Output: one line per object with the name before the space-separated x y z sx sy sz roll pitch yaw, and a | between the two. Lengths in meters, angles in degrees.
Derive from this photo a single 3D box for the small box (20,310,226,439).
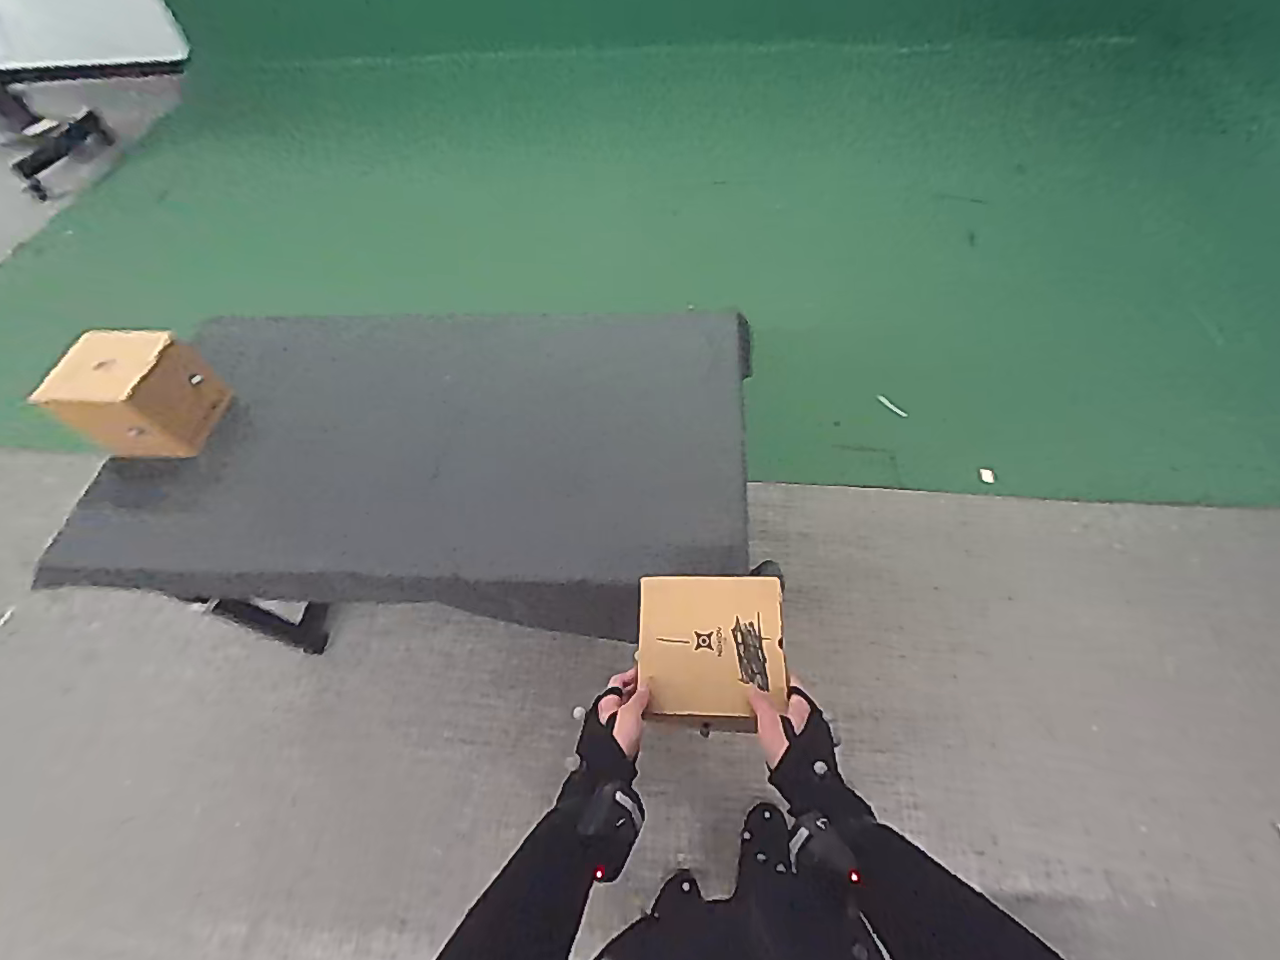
small box | -0.917 -0.187 0.985 0.179 0.176 0.168 2 57 4

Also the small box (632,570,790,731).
small box | 0.087 0.226 0.703 0.179 0.176 0.168 0 59 5
